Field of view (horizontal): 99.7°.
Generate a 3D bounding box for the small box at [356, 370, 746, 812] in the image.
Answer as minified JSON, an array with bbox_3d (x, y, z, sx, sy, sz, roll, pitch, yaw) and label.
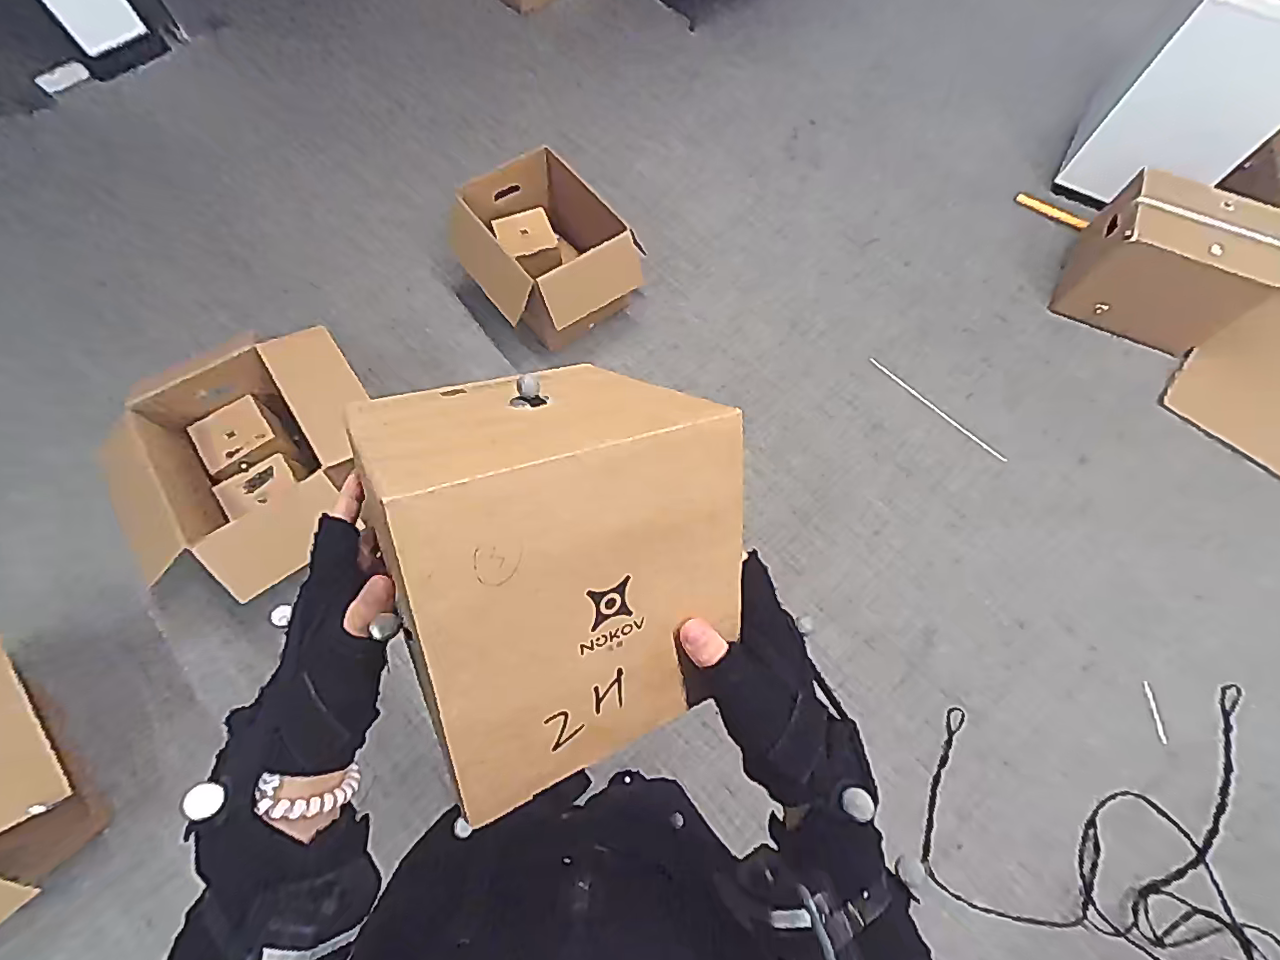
[{"bbox_3d":[-0.056,0.035,0.323,0.168,0.179,0.176,-16,26,-28],"label":"small box"}]
